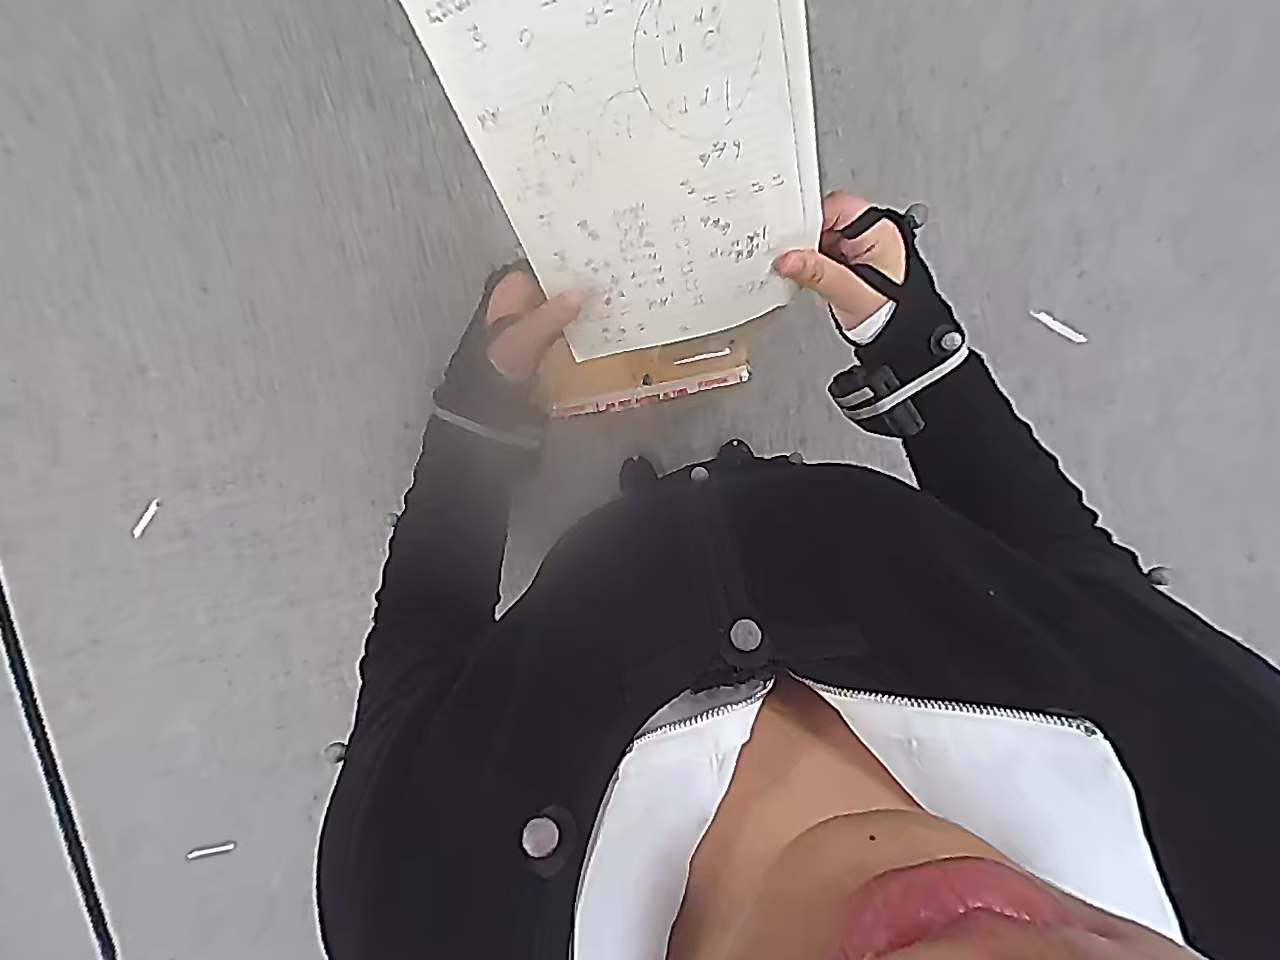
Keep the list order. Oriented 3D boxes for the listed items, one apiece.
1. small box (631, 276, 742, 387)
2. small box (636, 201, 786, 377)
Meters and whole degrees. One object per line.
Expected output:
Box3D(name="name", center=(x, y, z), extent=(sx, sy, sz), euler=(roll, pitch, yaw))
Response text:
Box3D(name="small box", center=(0.088, -0.266, 0.926), extent=(0.179, 0.176, 0.168), euler=(-16, 93, 2))
Box3D(name="small box", center=(0.090, -0.255, 0.762), extent=(0.168, 0.176, 0.179), euler=(-13, 95, 1))
